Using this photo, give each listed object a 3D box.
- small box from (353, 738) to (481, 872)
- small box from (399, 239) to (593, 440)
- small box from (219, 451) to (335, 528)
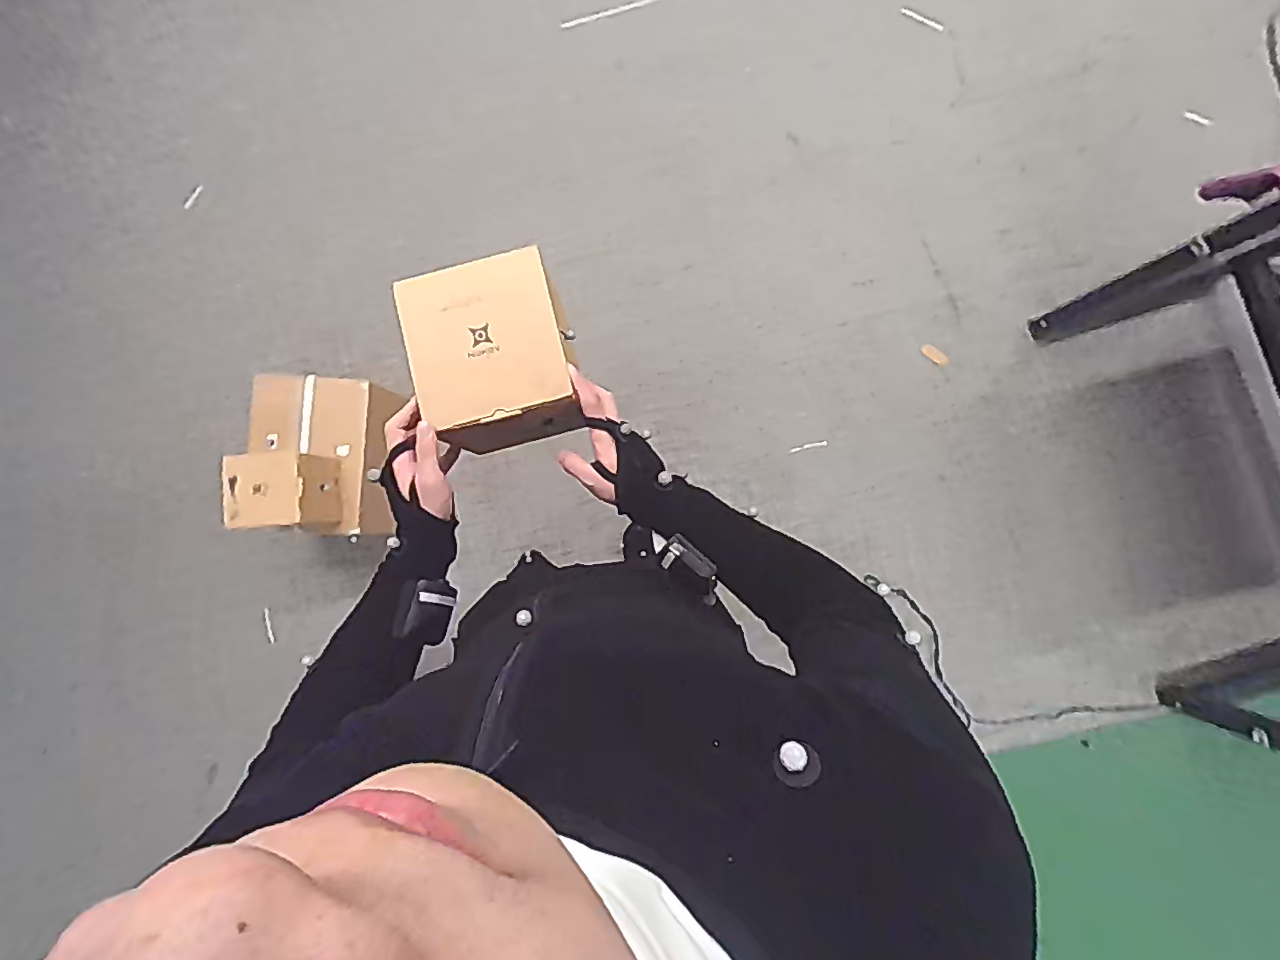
[{"bbox_3d":[-0.499,0.722,1.234,0.179,0.176,0.168,42,88,3],"label":"small box"},{"bbox_3d":[-0.159,-0.151,0.651,0.168,0.176,0.179,-13,85,1],"label":"small box"},{"bbox_3d":[-0.850,0.025,1.285,0.179,0.176,0.168,-4,86,0],"label":"small box"}]
